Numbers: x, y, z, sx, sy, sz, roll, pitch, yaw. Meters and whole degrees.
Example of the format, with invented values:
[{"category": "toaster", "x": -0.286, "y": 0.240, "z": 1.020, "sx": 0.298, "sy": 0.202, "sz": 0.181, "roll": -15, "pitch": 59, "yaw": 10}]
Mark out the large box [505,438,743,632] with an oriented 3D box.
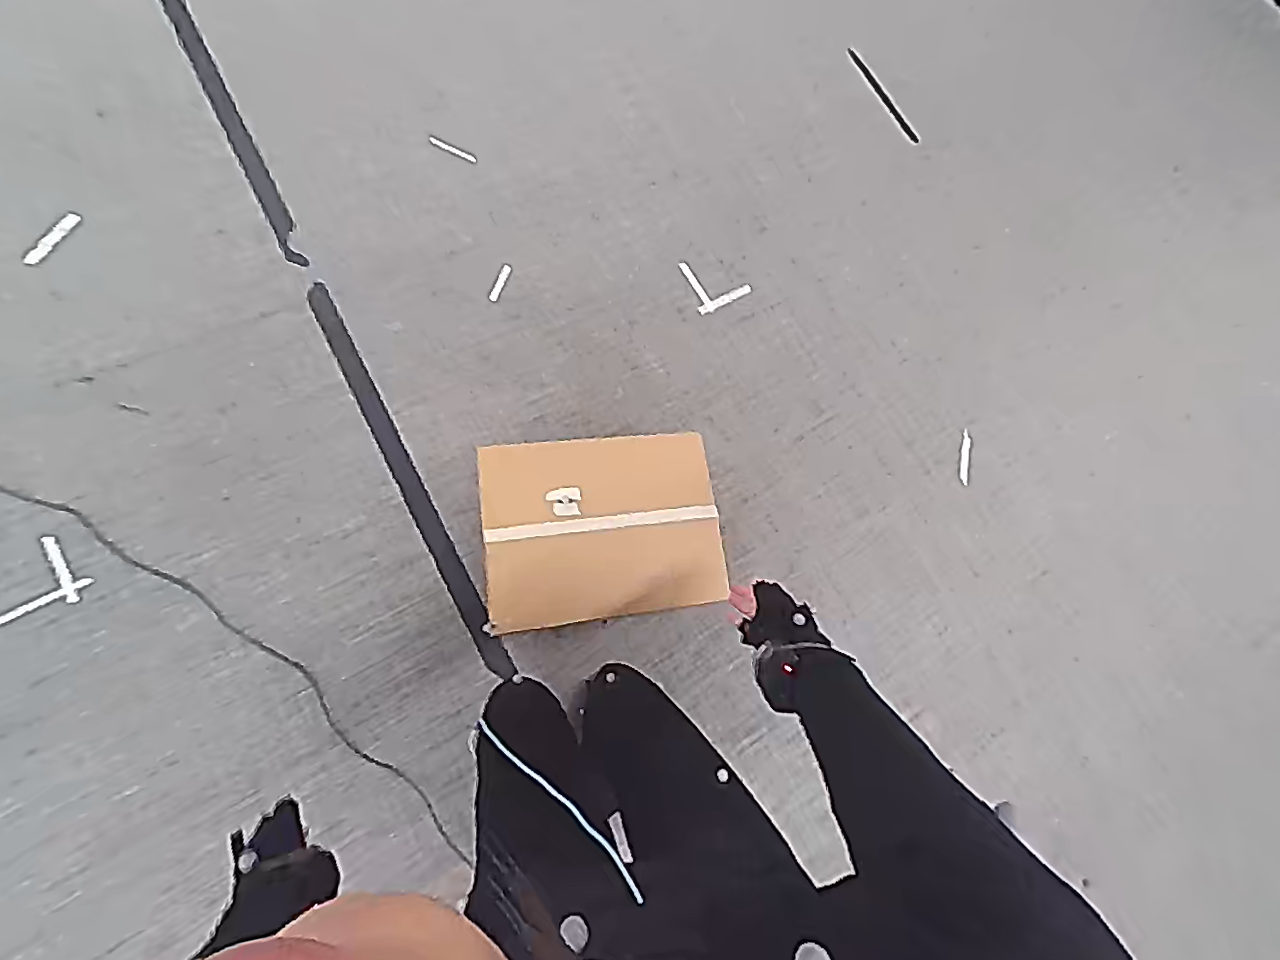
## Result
[{"category": "large box", "x": -0.051, "y": 0.122, "z": 1.107, "sx": 0.408, "sy": 0.320, "sz": 0.320, "roll": -5, "pitch": 75, "yaw": -11}]
